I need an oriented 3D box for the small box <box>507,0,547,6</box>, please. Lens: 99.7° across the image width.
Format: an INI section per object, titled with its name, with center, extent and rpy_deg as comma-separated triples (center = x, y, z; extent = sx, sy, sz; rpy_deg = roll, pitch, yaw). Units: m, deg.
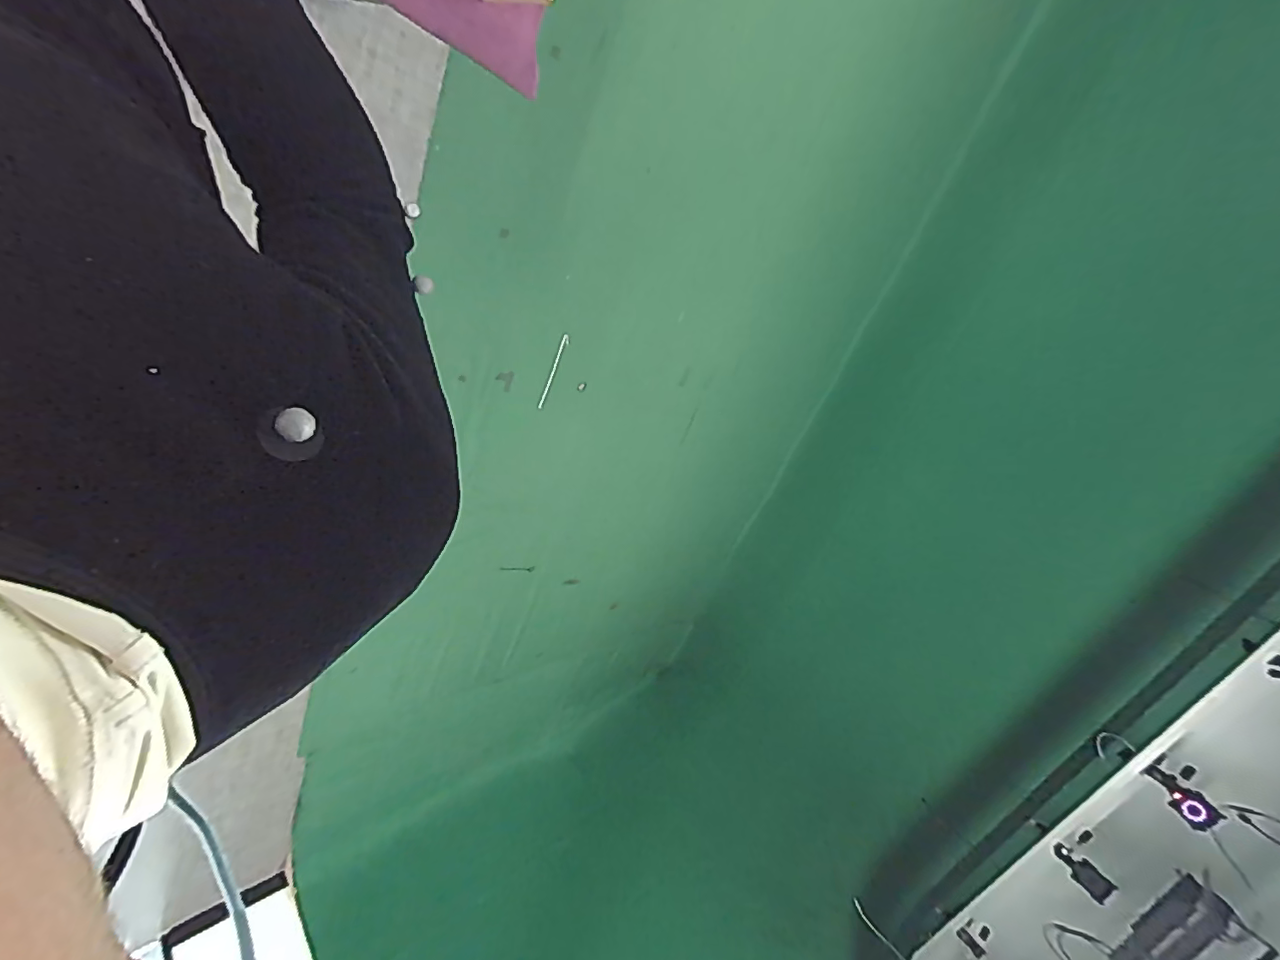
[small box]
center = -0.188, -0.673, 0.593
extent = 0.179, 0.176, 0.168
rpy_deg = 0, 121, -50
